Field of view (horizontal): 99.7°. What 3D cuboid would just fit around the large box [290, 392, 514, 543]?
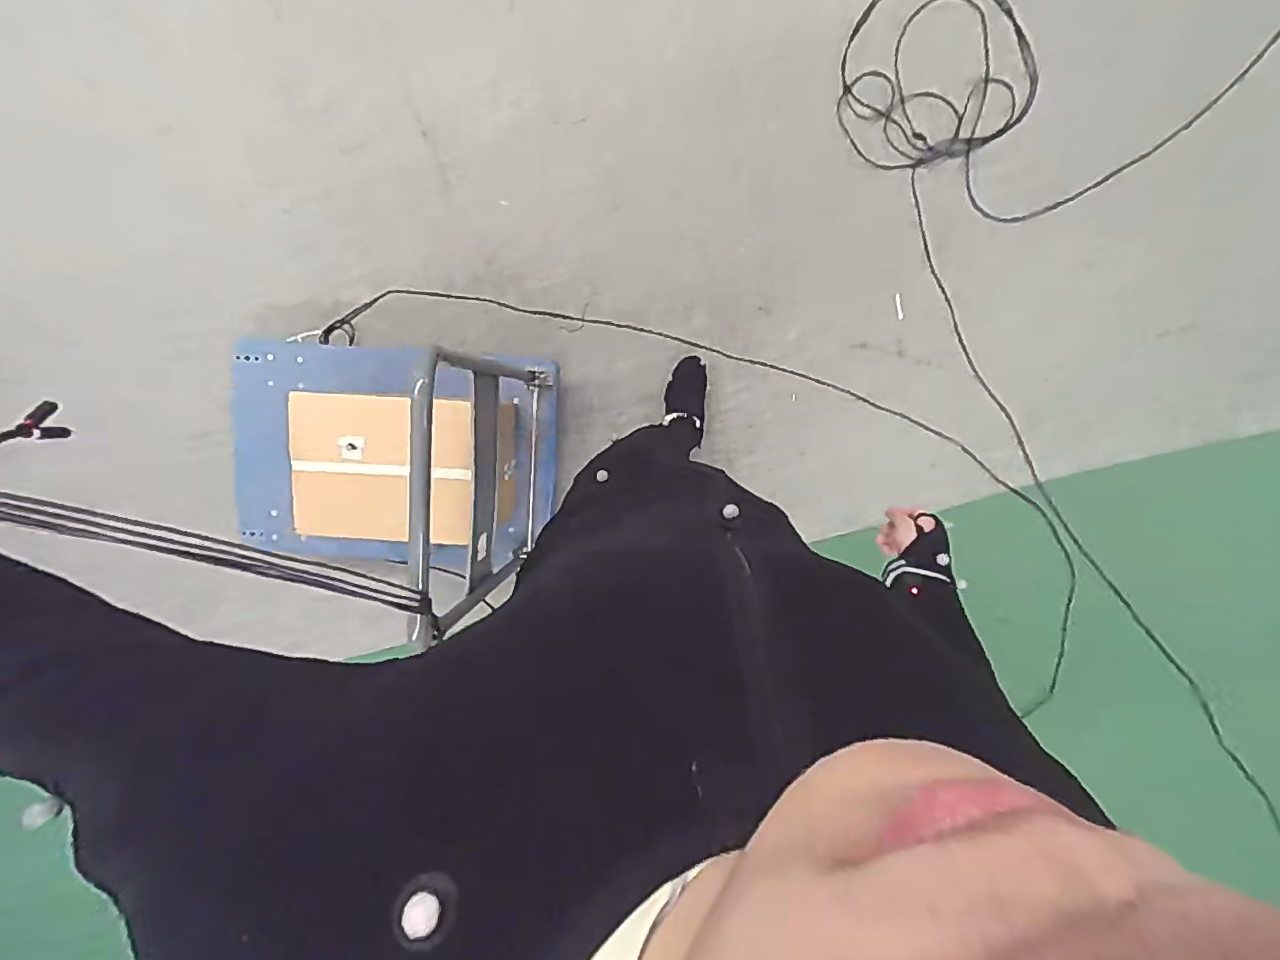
[{"bbox_3d":[-0.537,-0.047,1.296,0.408,0.320,0.320,3,98,2],"label":"large box"}]
